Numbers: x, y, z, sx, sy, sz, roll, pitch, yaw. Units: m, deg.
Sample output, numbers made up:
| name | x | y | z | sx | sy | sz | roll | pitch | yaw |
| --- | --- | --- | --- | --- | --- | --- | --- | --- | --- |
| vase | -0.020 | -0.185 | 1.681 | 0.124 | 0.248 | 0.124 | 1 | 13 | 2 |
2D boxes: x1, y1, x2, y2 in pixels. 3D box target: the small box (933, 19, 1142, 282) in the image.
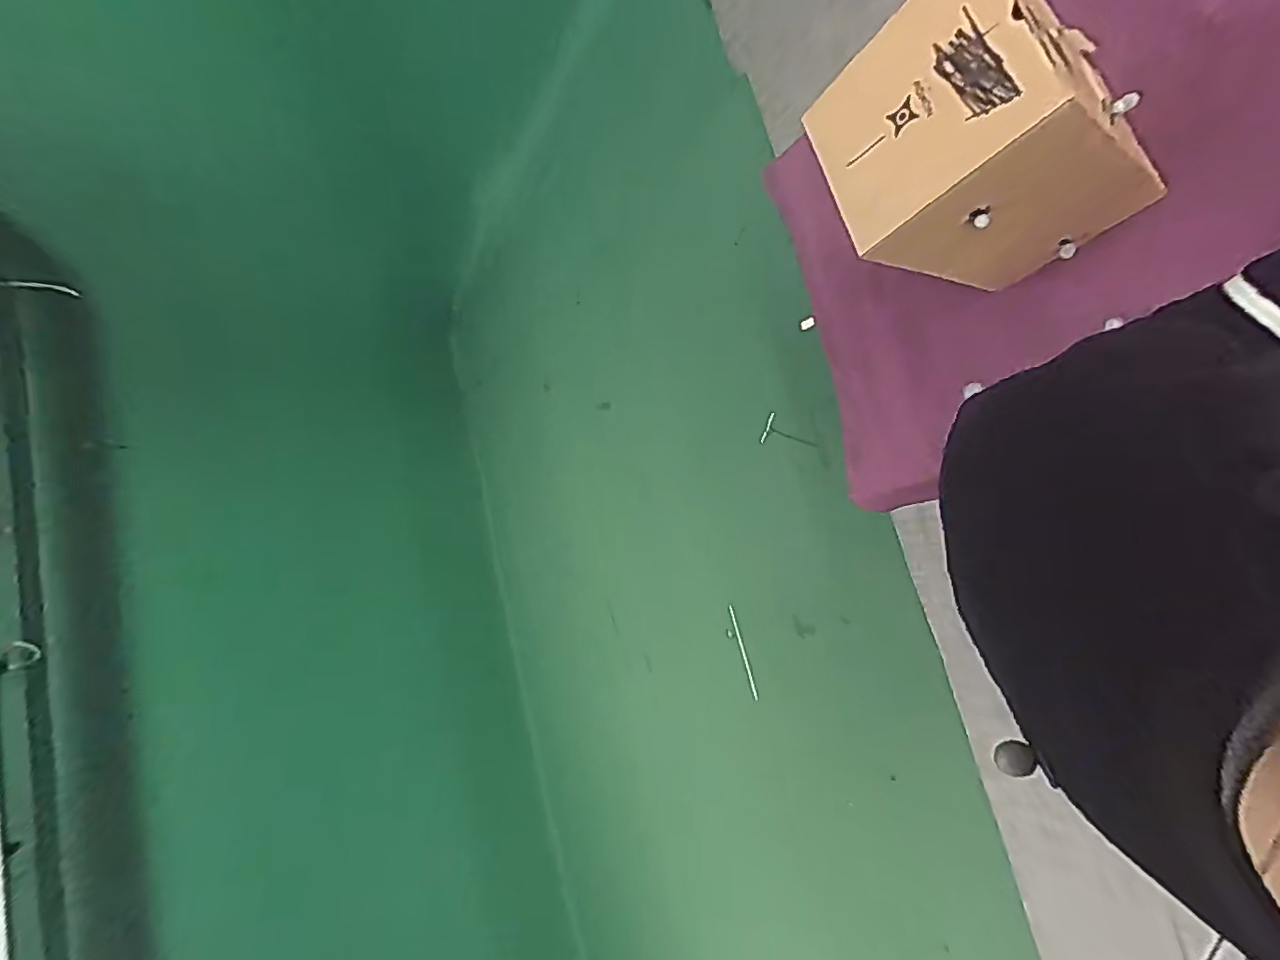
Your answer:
| name | x | y | z | sx | sy | sz | roll | pitch | yaw |
| --- | --- | --- | --- | --- | --- | --- | --- | --- | --- |
| small box | 0.426 | -0.350 | 0.616 | 0.179 | 0.176 | 0.168 | -31 | 73 | 51 |

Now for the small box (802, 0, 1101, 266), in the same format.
| name | x | y | z | sx | sy | sz | roll | pitch | yaw |
| --- | --- | --- | --- | --- | --- | --- | --- | --- | --- |
| small box | 0.297 | -0.330 | 0.516 | 0.179 | 0.176 | 0.168 | -31 | 73 | 52 |
